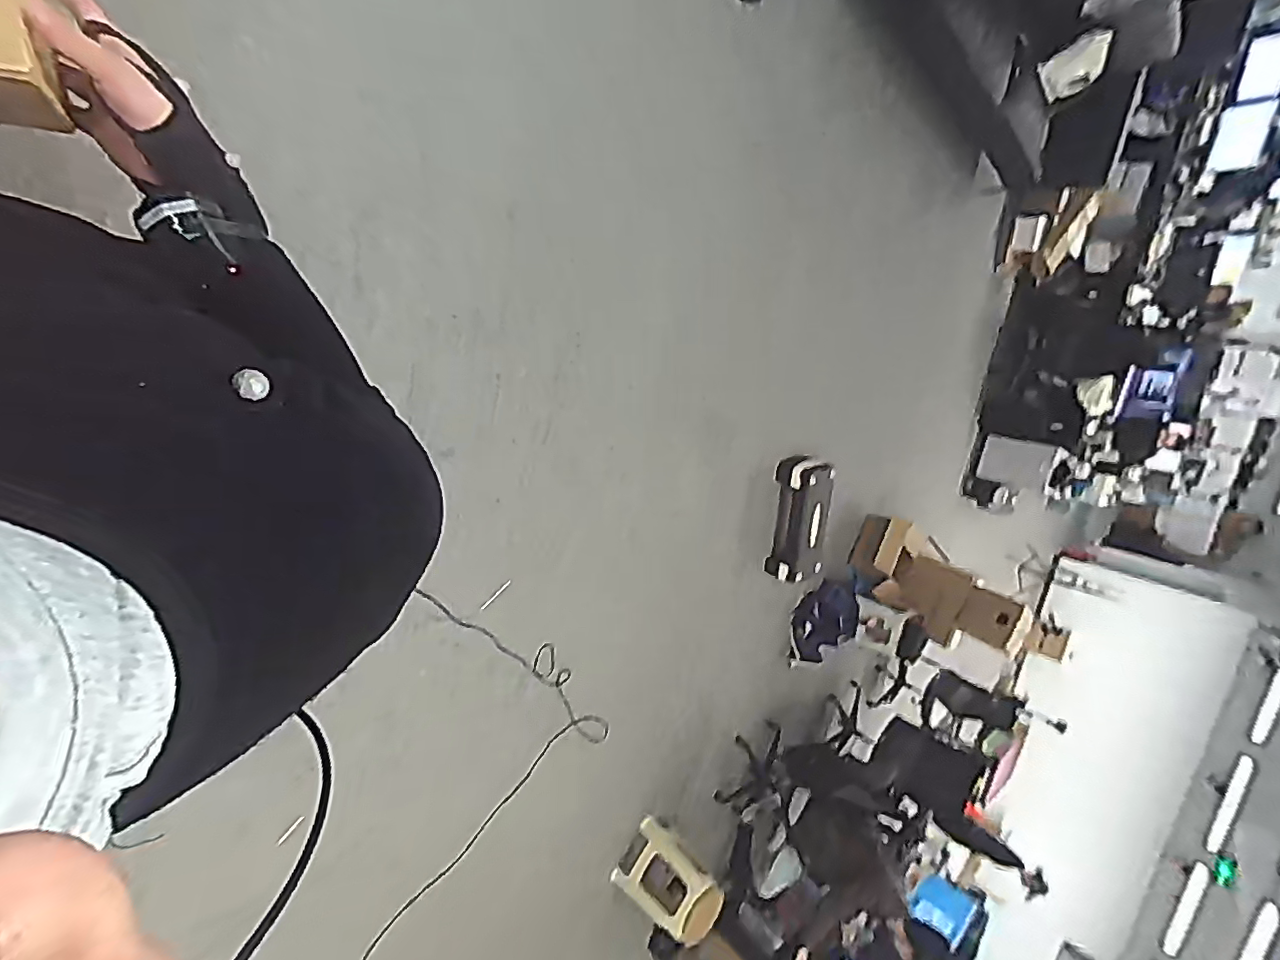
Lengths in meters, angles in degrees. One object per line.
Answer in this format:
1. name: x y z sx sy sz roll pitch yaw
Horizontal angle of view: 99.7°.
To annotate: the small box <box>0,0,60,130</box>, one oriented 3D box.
1. small box: -0.463 -0.314 0.297 0.168 0.176 0.179 -15 117 -39
